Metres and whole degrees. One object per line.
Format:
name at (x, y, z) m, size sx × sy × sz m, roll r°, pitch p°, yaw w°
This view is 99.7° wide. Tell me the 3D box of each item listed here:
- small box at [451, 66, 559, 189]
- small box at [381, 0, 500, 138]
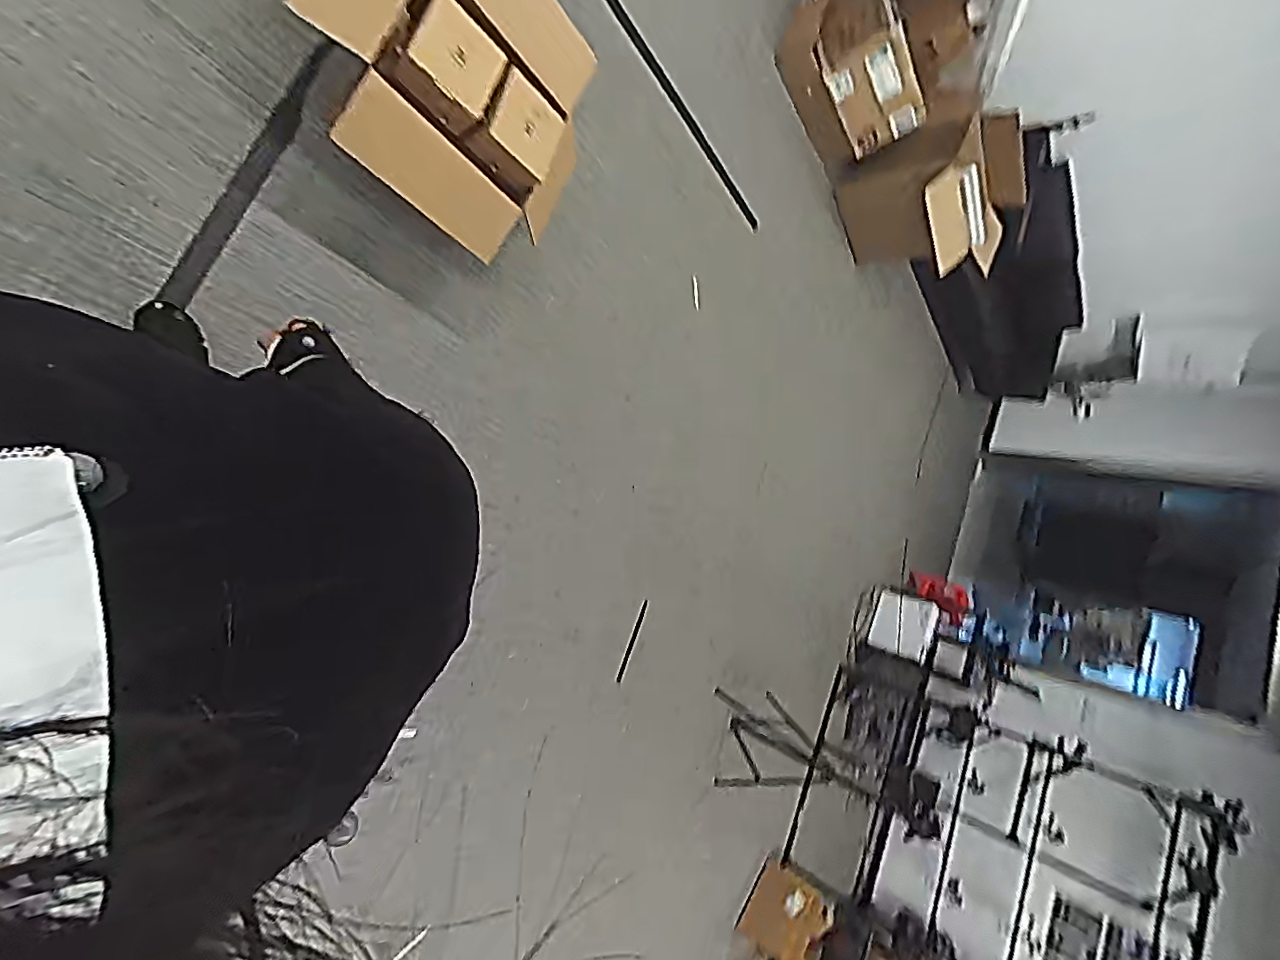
small box at (-0.334, -0.847, 1.321) m, size 0.168 × 0.176 × 0.179 m, roll 23°, pitch 82°, yaw -50°
small box at (-0.446, -0.904, 1.193) m, size 0.168 × 0.176 × 0.179 m, roll 27°, pitch 77°, yaw -43°
